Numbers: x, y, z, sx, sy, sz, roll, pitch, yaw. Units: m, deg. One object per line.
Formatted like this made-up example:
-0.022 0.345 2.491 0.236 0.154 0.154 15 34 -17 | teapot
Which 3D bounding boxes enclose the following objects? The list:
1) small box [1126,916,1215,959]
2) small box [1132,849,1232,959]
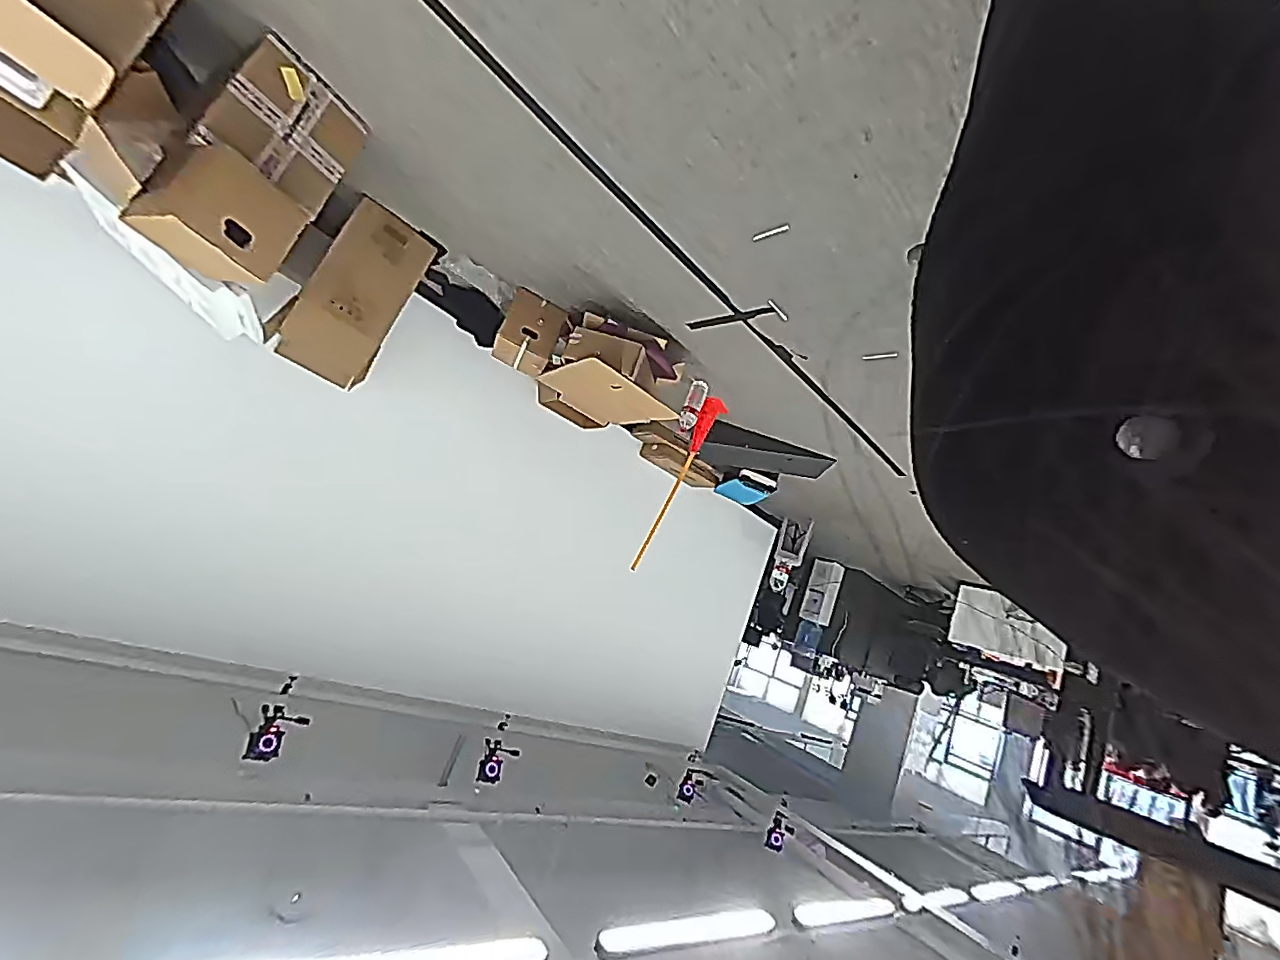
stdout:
1.359 1.246 1.379 0.179 0.176 0.168 30 165 -39 | small box
1.415 1.095 1.410 0.179 0.176 0.168 29 164 -38 | small box
